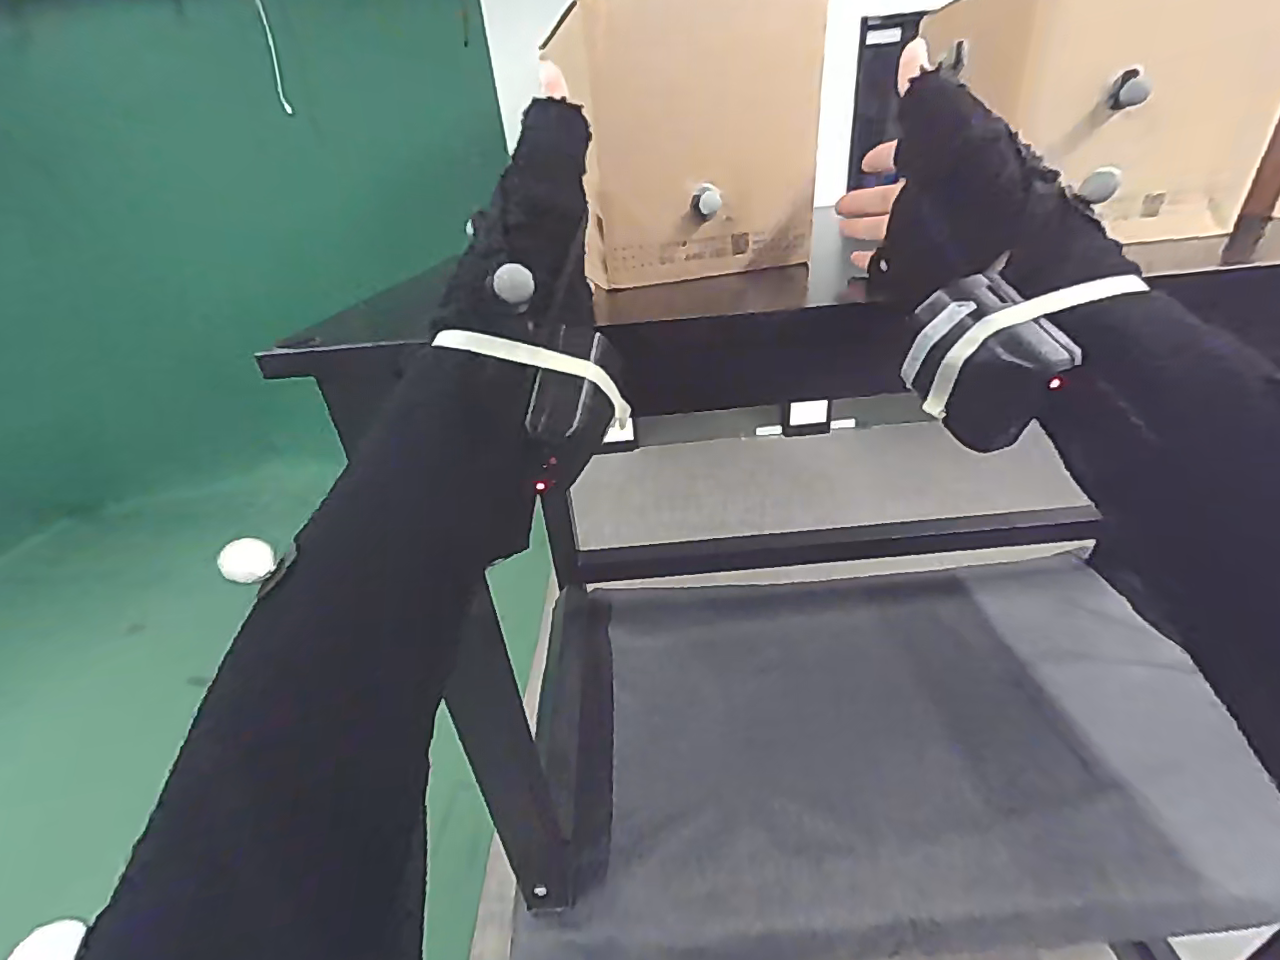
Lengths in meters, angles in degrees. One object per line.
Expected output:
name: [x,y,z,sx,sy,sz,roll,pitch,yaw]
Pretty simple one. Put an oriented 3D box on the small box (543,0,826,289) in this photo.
small box: [0.024,-0.259,0.439,0.168,0.176,0.179,-13,32,-12]
